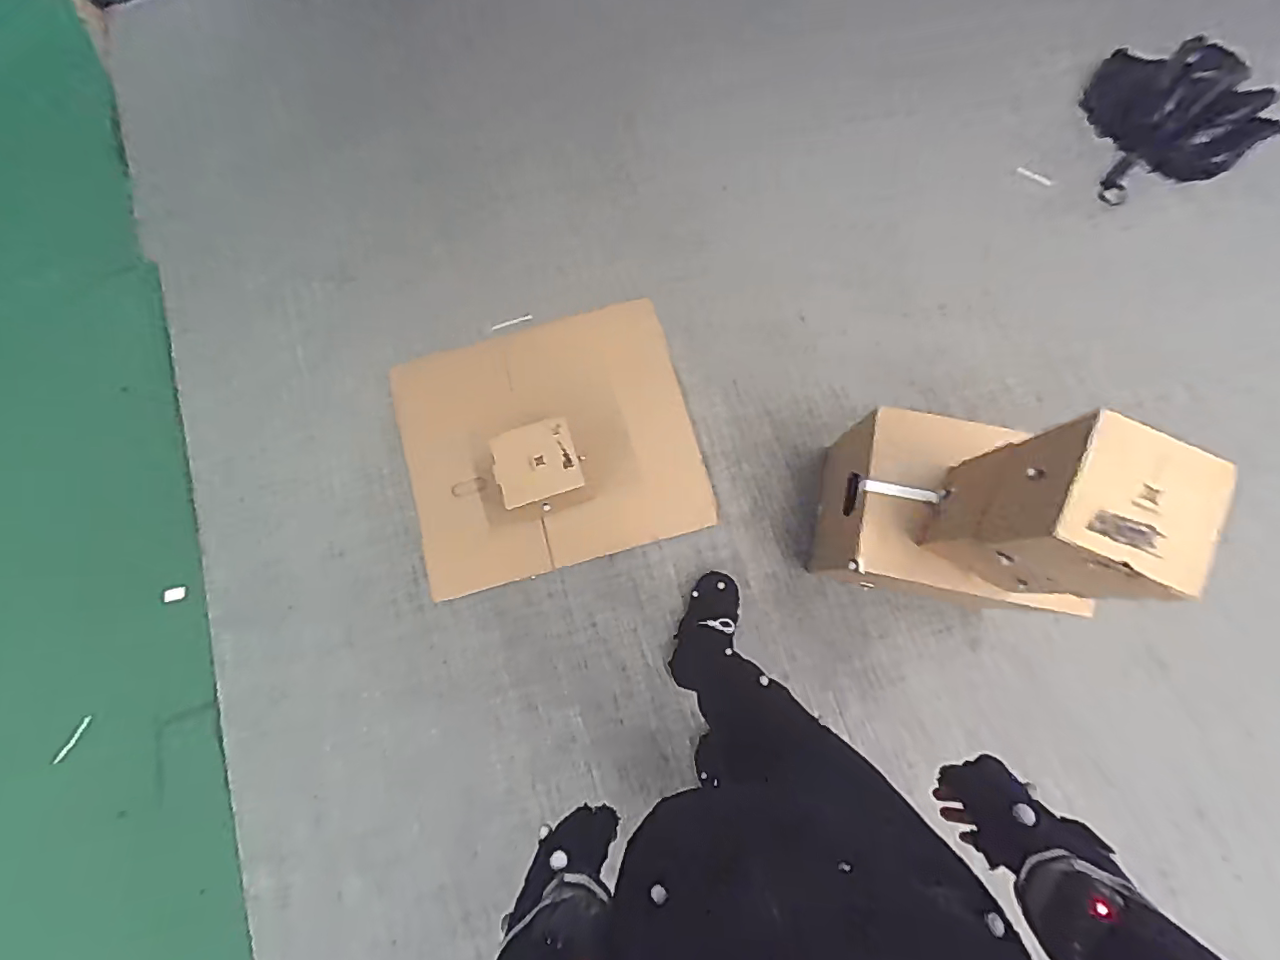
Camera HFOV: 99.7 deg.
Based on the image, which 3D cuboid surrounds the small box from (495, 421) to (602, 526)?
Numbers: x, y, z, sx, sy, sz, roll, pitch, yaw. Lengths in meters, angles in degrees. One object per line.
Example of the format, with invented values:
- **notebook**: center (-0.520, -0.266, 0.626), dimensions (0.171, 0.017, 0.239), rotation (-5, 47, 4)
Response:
- **small box**: center (-0.201, -0.006, 1.230), dimensions (0.179, 0.176, 0.168), rotation (-21, 76, 0)

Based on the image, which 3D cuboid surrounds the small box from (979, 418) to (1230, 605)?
- **small box**: center (0.586, 0.048, 0.708), dimensions (0.168, 0.176, 0.179), rotation (23, 81, 7)

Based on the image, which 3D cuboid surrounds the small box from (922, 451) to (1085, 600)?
- **small box**: center (0.598, 0.078, 0.869), dimensions (0.179, 0.176, 0.168), rotation (26, 80, 9)
